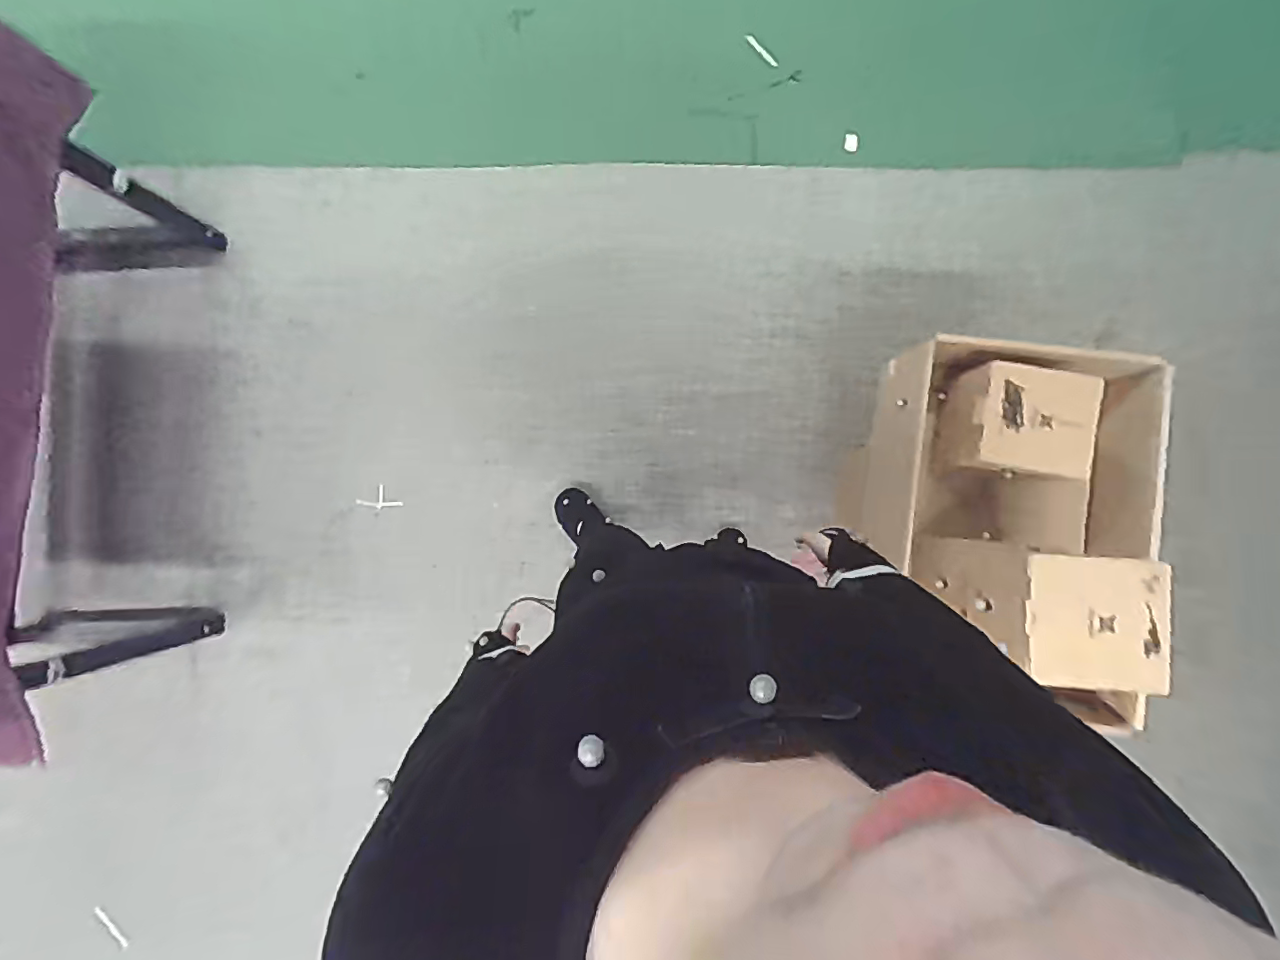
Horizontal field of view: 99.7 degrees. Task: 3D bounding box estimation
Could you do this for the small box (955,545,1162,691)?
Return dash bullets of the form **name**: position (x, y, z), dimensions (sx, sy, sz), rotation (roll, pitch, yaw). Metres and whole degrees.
- **small box**: position (0.578, 0.183, 0.769), dimensions (0.179, 0.176, 0.168), rotation (4, 87, 3)
